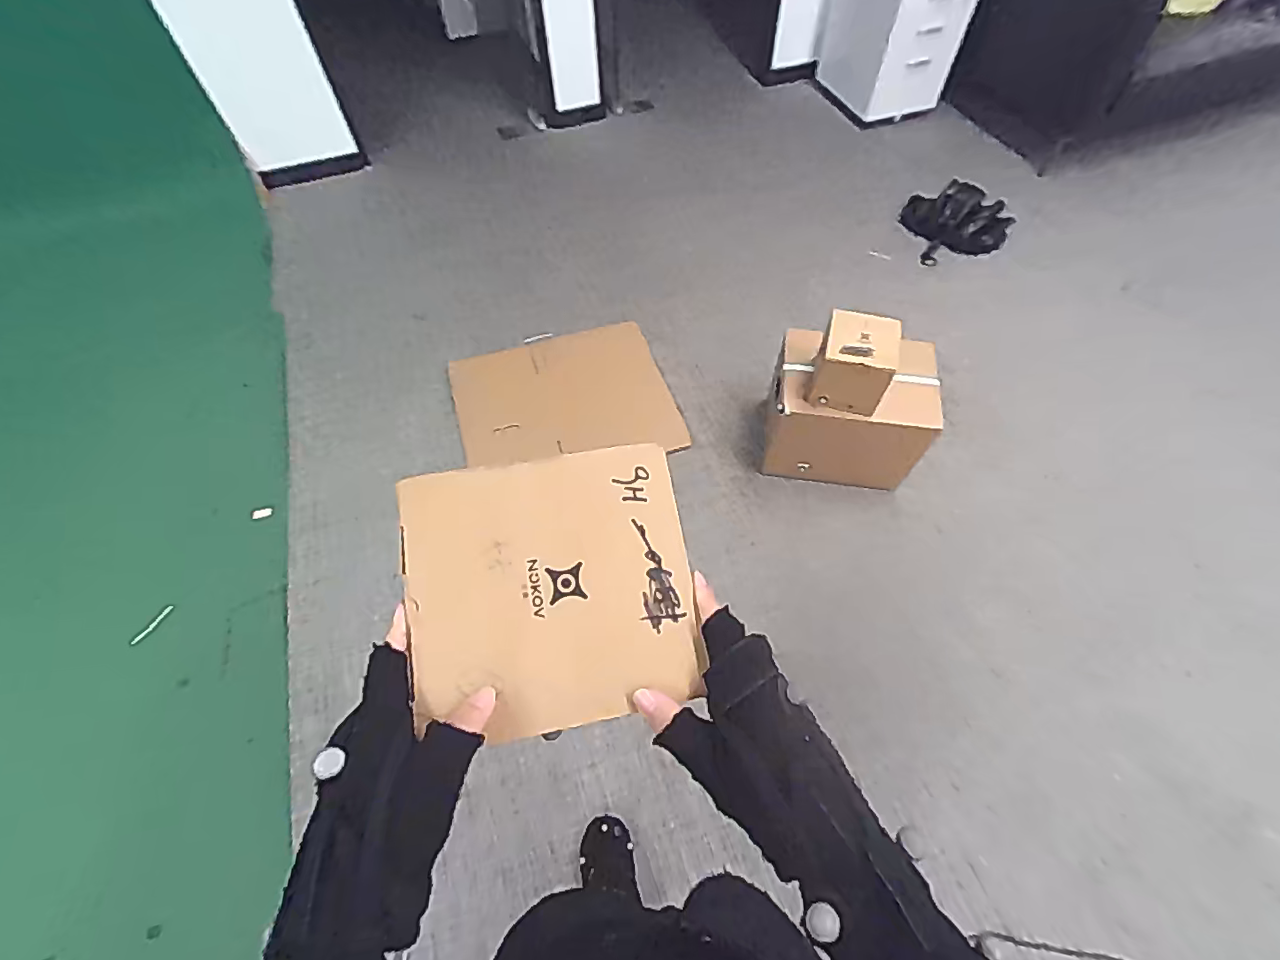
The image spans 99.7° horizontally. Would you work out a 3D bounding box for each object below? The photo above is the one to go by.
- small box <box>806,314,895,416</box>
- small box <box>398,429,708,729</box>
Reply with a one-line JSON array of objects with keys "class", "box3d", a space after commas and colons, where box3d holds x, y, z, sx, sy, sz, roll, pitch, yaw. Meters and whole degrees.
[{"class": "small box", "box3d": [0.526, -0.285, 1.364, 0.168, 0.176, 0.179, 13, 59, 9]}, {"class": "small box", "box3d": [-0.065, 0.081, 0.417, 0.179, 0.176, 0.168, -11, 72, -10]}]
